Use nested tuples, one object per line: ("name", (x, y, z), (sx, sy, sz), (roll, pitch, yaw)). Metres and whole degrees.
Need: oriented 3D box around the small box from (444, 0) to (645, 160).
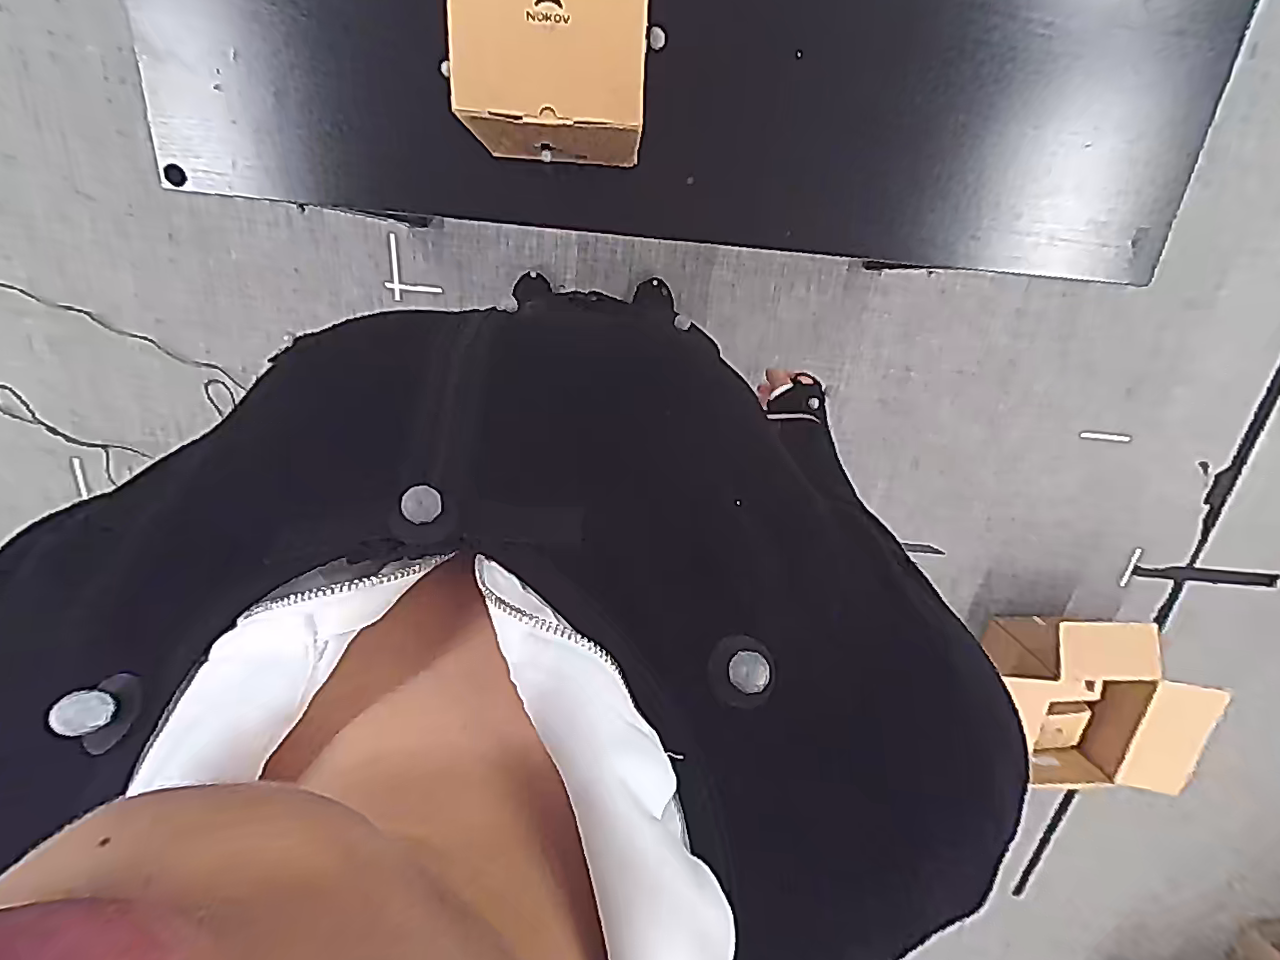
("small box", (-0.082, -0.427, 0.516), (0.168, 0.176, 0.179), (2, 111, -4))
